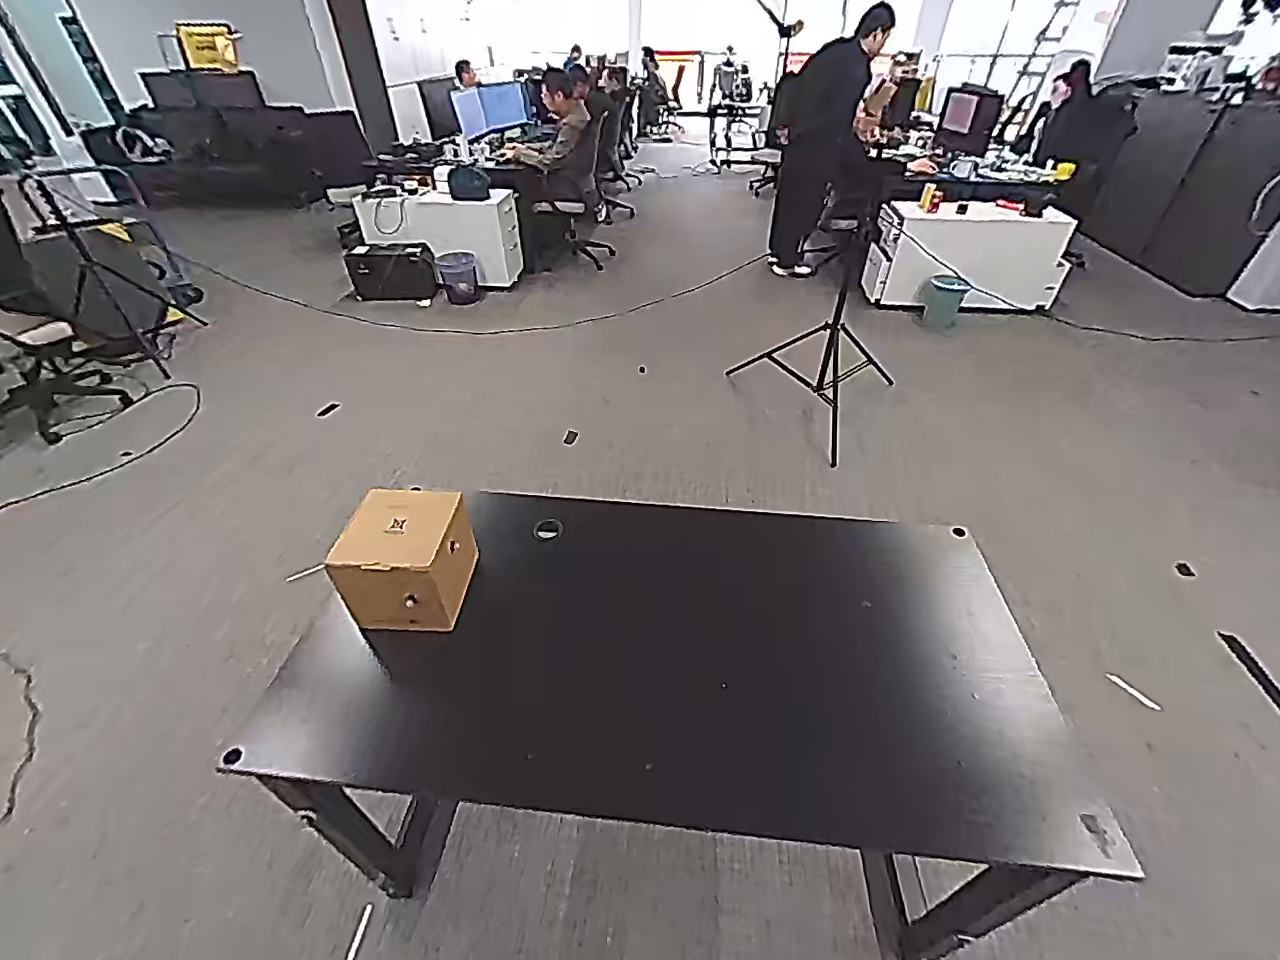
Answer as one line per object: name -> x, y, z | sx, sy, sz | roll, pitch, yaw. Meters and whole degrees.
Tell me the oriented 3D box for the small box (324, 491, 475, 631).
small box -> -0.392, 0.139, 0.923 | 0.168, 0.176, 0.179 | 2, 39, 0
